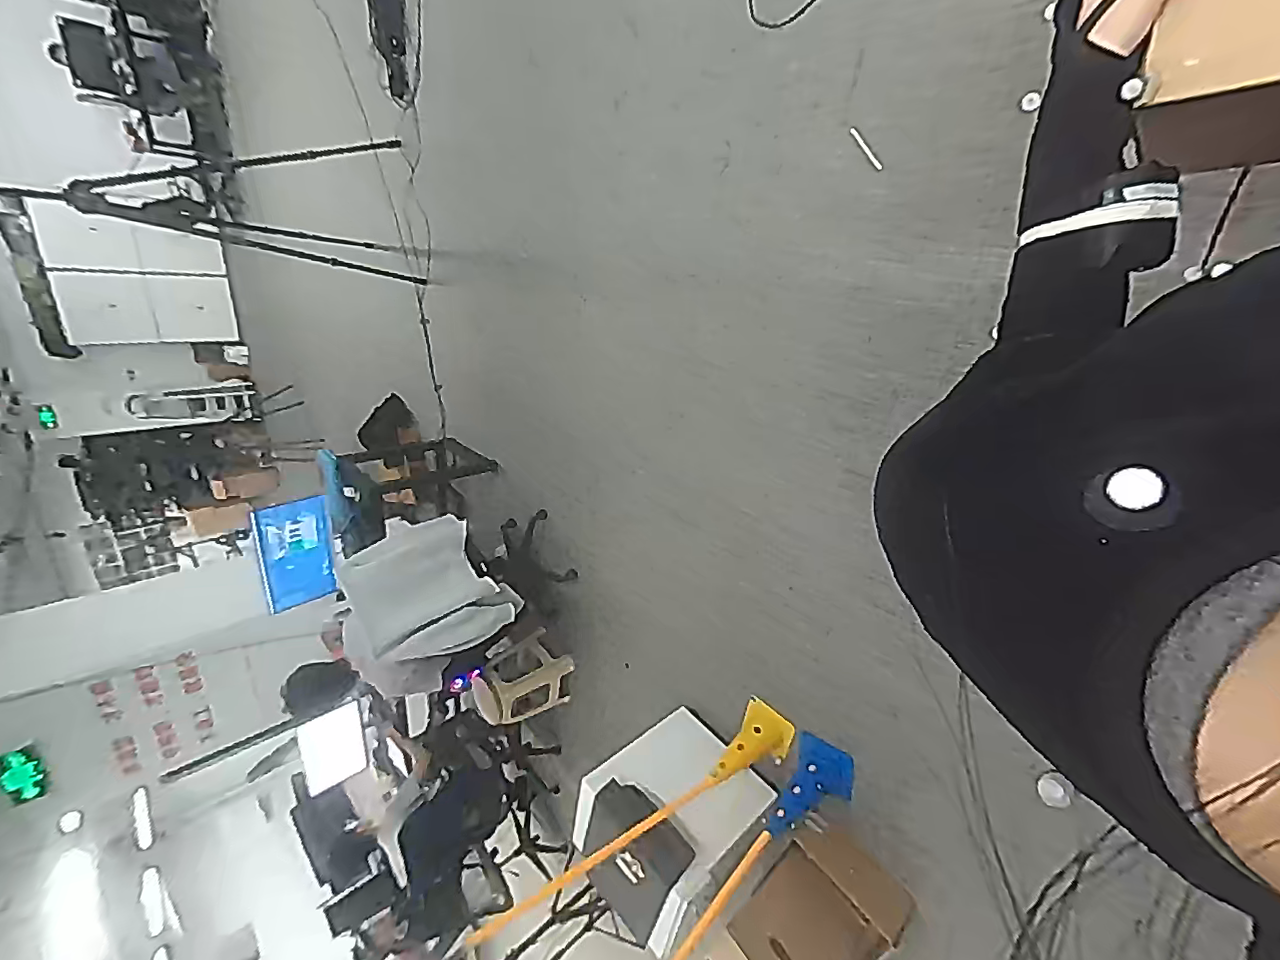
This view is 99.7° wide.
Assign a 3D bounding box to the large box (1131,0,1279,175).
[{"bbox_3d":[0.592,-0.401,0.312,0.408,0.320,0.320,15,113,41],"label":"large box"}]
